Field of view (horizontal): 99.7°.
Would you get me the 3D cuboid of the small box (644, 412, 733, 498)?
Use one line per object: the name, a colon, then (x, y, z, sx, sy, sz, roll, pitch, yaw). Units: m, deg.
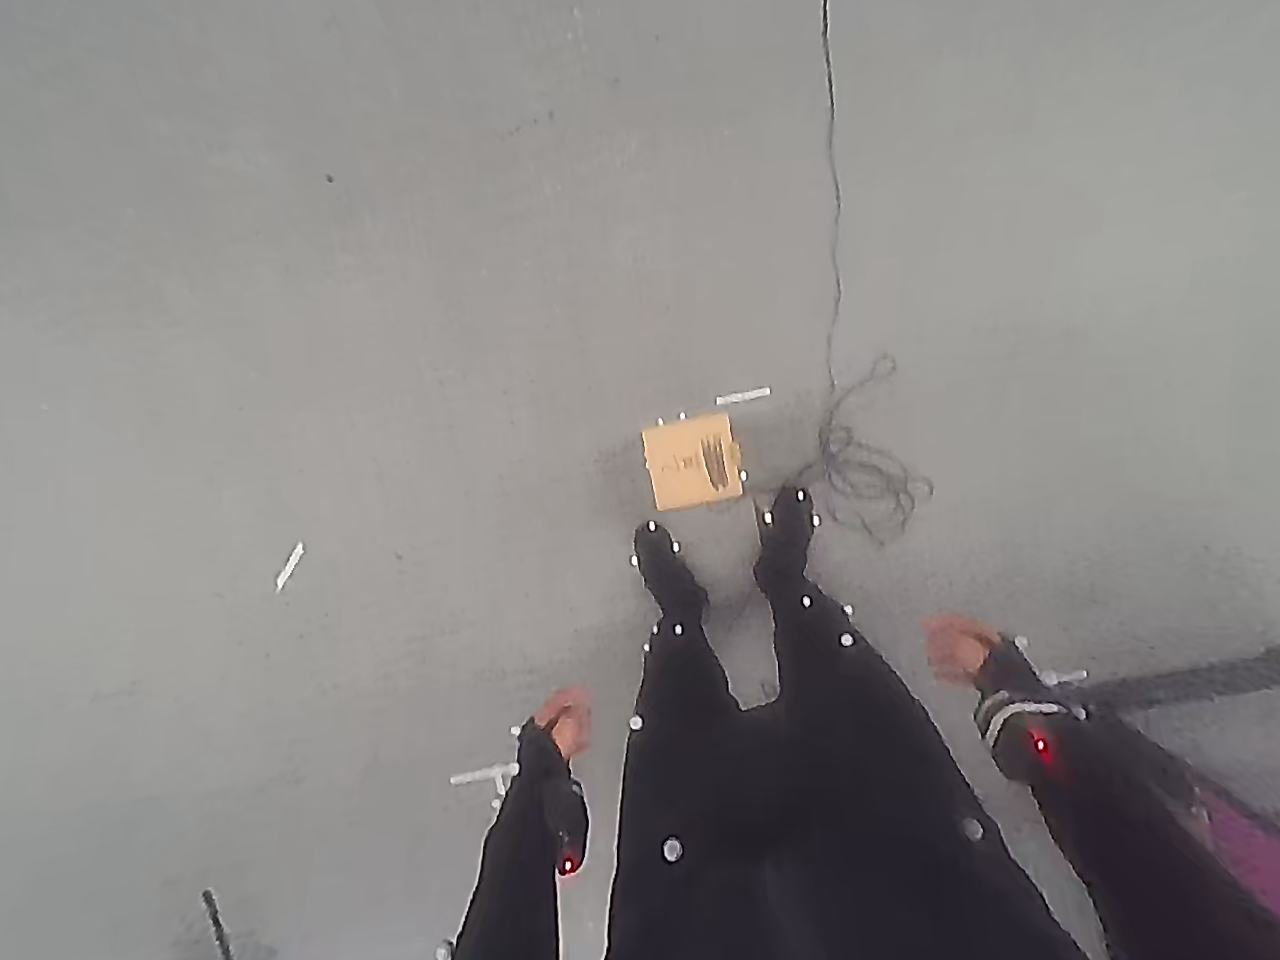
small box: (0.117, -0.062, 1.292, 0.179, 0.176, 0.168, -13, 95, 6)
